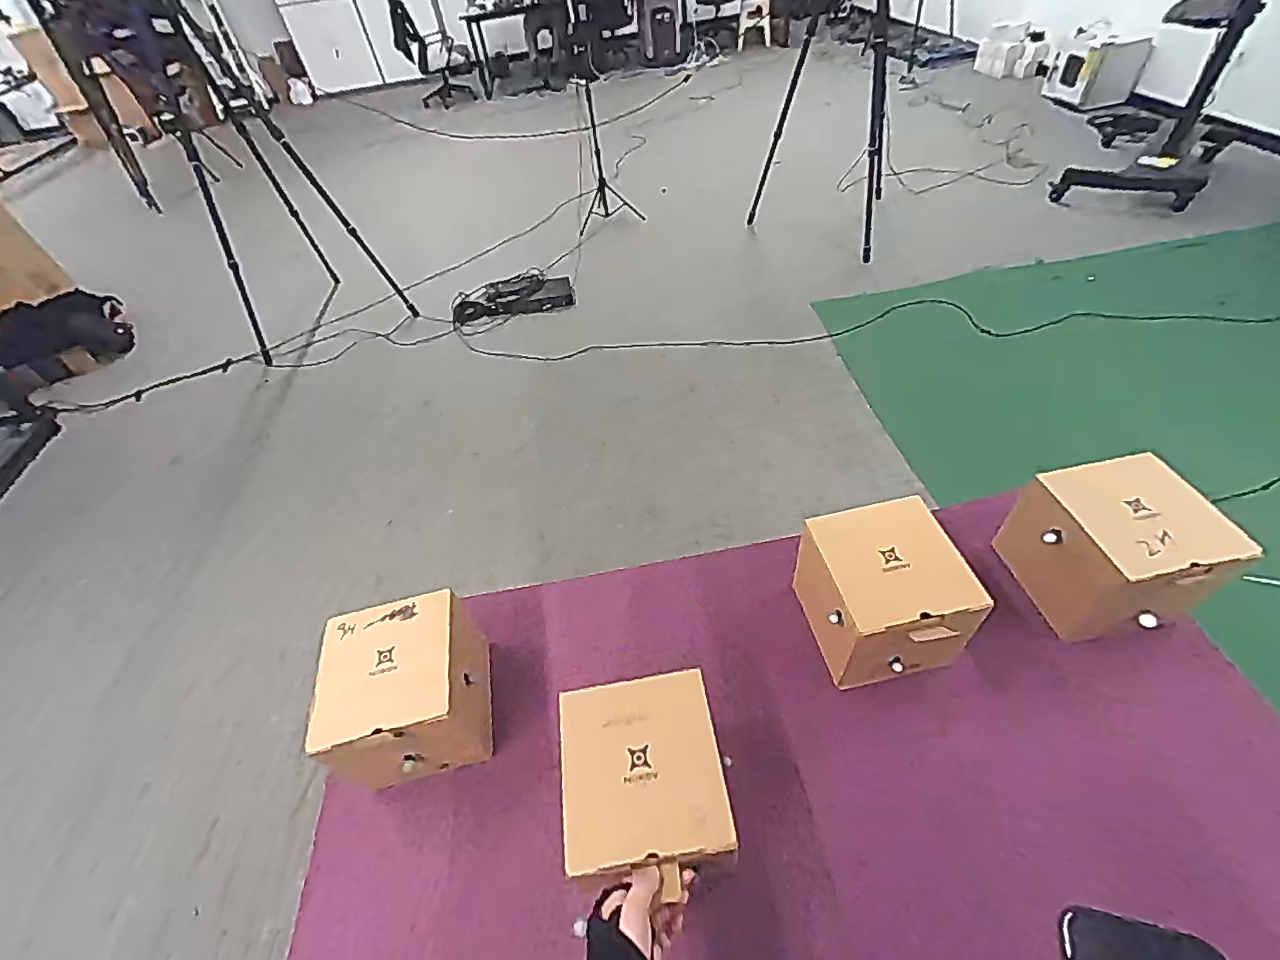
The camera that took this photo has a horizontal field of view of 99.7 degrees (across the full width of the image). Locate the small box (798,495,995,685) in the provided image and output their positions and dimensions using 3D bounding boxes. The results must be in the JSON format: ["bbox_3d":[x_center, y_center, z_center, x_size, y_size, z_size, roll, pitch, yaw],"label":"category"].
[{"bbox_3d":[0.328,0.152,0.740,0.168,0.176,0.179,-13,48,-2],"label":"small box"}]

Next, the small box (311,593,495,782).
[{"bbox_3d":[-0.300,0.283,0.724,0.168,0.176,0.179,-14,49,-4],"label":"small box"}]

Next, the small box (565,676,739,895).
[{"bbox_3d":[0.014,0.350,0.614,0.168,0.176,0.179,-10,47,0],"label":"small box"}]

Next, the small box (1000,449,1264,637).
[{"bbox_3d":[0.640,0.088,0.739,0.168,0.176,0.179,-12,48,1],"label":"small box"}]
